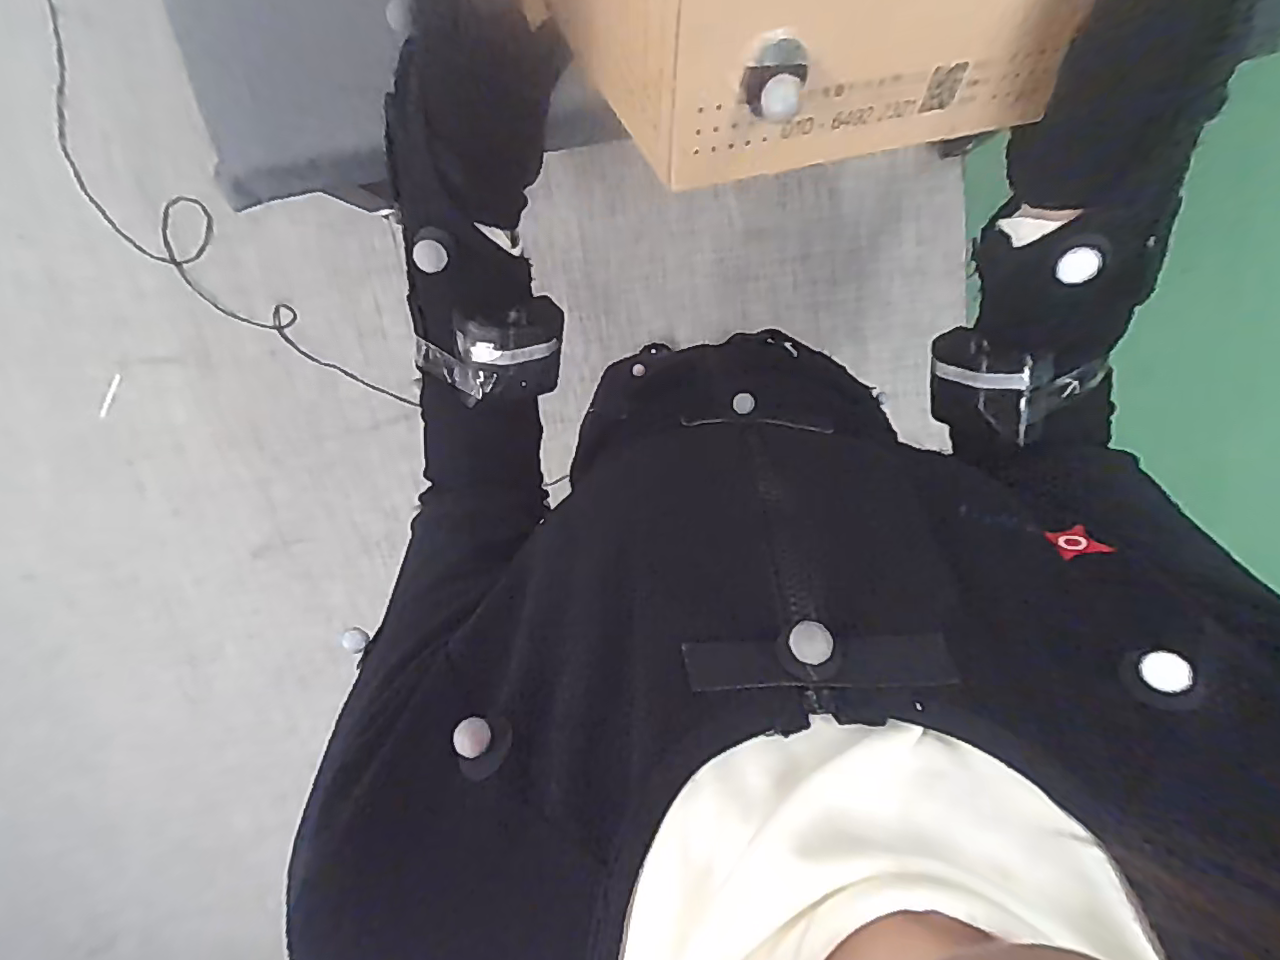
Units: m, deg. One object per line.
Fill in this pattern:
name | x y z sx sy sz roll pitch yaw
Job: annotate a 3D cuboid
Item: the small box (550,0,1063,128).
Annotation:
small box | 0.057 -0.244 0.181 0.168 0.176 0.179 -17 60 -12
